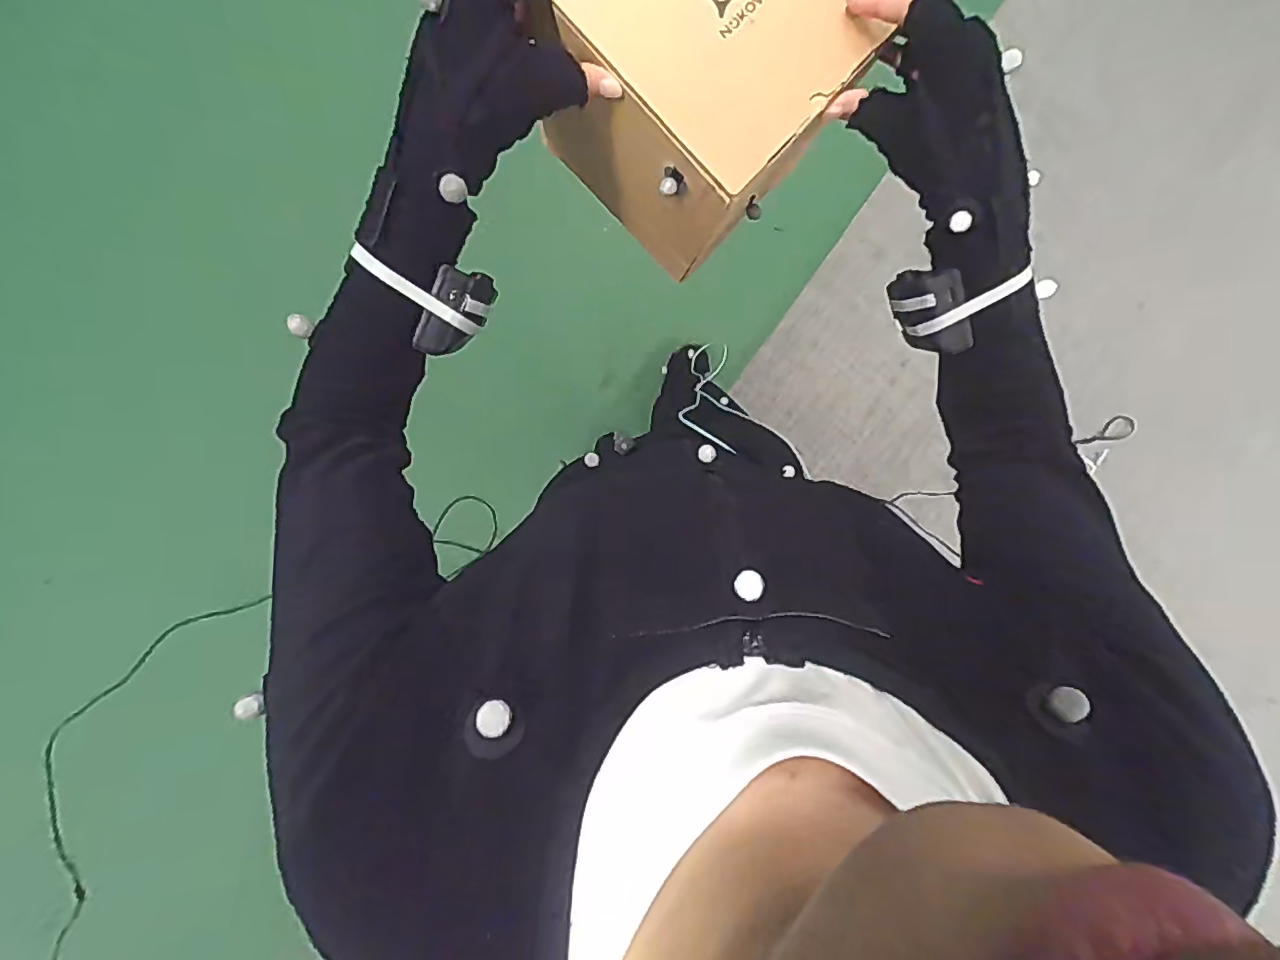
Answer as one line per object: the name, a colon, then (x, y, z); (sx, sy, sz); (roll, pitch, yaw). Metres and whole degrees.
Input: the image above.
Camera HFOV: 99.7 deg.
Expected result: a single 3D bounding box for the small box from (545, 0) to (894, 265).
small box: (0.040, -0.303, 0.416); (0.179, 0.176, 0.168); (44, 87, -9)
